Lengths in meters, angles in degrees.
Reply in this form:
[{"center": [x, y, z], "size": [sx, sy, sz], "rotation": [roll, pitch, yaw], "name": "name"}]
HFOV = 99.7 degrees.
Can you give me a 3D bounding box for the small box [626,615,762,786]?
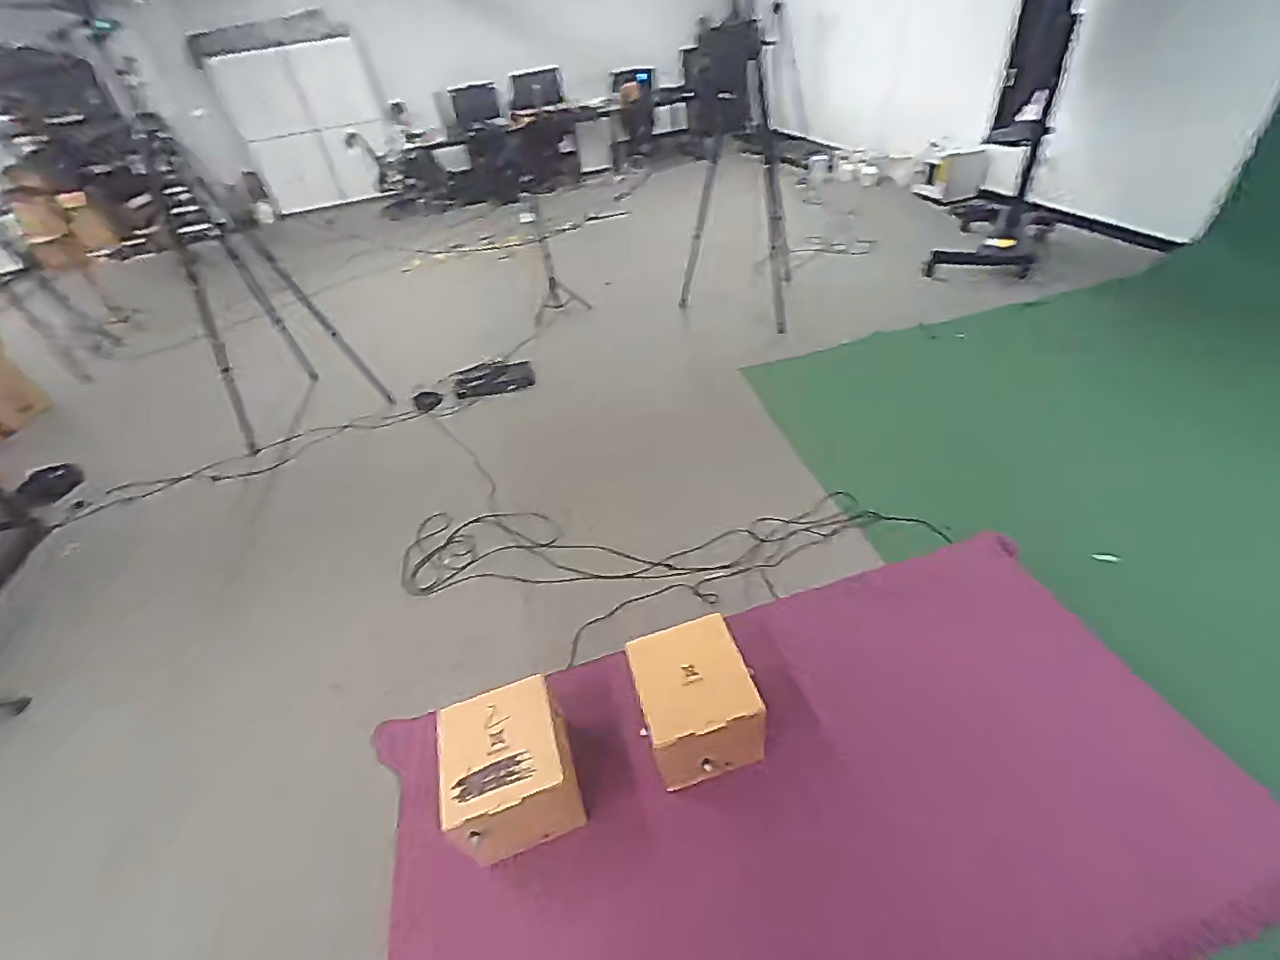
[{"center": [0.085, 0.356, 0.877], "size": [0.168, 0.176, 0.179], "rotation": [-17, 42, -7], "name": "small box"}]
